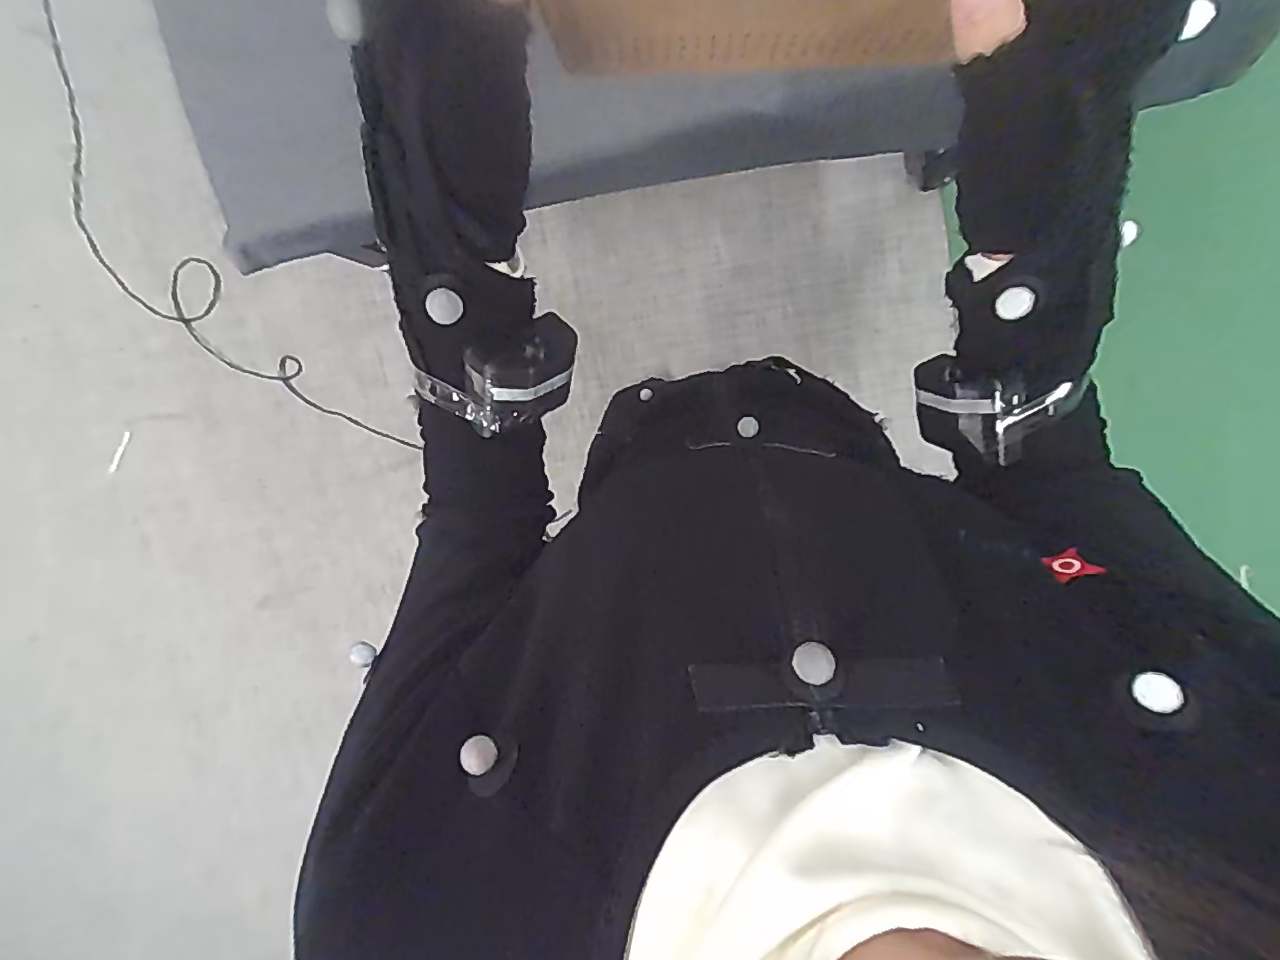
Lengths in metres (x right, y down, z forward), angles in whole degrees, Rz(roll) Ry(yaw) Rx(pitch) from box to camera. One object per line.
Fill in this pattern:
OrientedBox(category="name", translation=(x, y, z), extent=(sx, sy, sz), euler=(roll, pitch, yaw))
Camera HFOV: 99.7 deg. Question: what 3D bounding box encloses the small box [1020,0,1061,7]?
OrientedBox(category="small box", translation=(0.448, -0.578, 0.481), extent=(0.168, 0.176, 0.179), euler=(-15, 98, 6))
